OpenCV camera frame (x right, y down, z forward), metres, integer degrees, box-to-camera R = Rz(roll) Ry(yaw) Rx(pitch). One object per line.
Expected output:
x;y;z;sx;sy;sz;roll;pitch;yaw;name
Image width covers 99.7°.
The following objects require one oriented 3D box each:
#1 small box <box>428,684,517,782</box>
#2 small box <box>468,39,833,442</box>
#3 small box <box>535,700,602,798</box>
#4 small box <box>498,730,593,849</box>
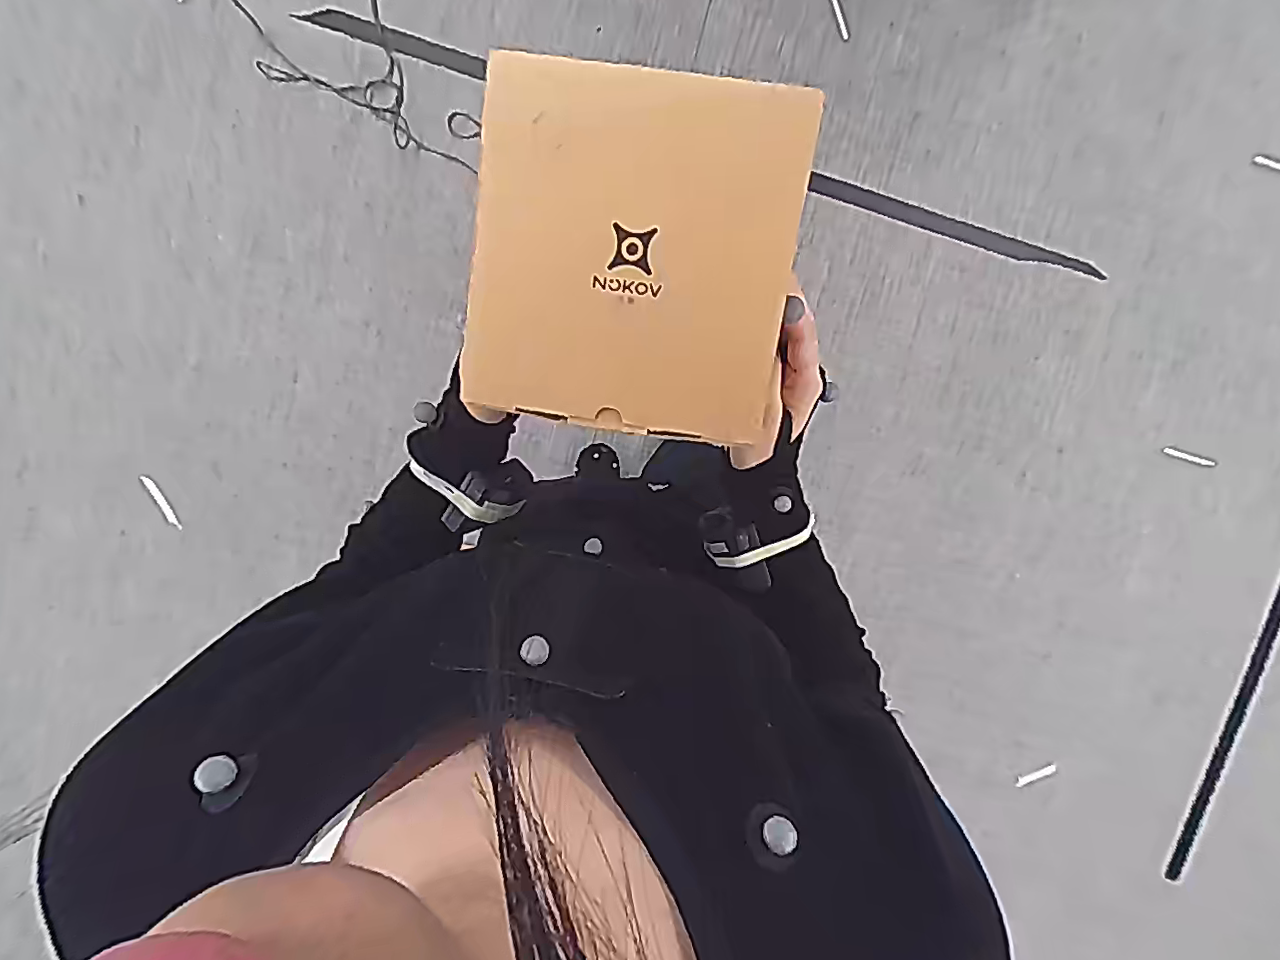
-0.439;0.665;1.438;0.179;0.176;0.168;9;96;-3;small box
0.004;-0.130;0.351;0.168;0.176;0.179;8;101;2;small box
-0.199;0.713;1.448;0.179;0.176;0.168;9;94;-4;small box
-0.216;0.722;1.282;0.179;0.176;0.168;13;96;-3;small box
